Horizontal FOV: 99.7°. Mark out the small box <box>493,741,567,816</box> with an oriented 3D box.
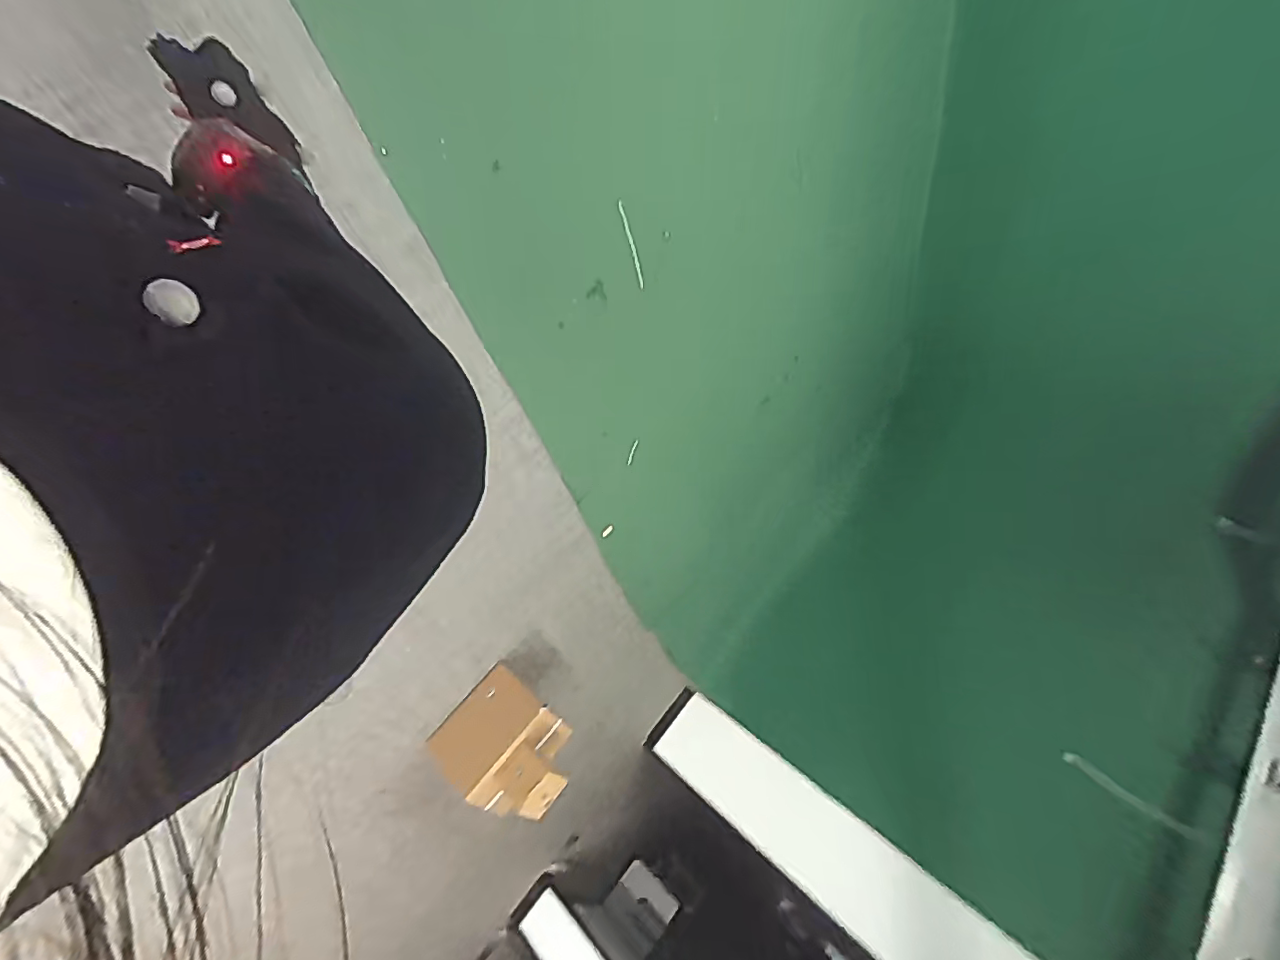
[{"bbox_3d":[-0.411,1.104,2.009,0.168,0.176,0.179,-48,140,-18],"label":"small box"}]
